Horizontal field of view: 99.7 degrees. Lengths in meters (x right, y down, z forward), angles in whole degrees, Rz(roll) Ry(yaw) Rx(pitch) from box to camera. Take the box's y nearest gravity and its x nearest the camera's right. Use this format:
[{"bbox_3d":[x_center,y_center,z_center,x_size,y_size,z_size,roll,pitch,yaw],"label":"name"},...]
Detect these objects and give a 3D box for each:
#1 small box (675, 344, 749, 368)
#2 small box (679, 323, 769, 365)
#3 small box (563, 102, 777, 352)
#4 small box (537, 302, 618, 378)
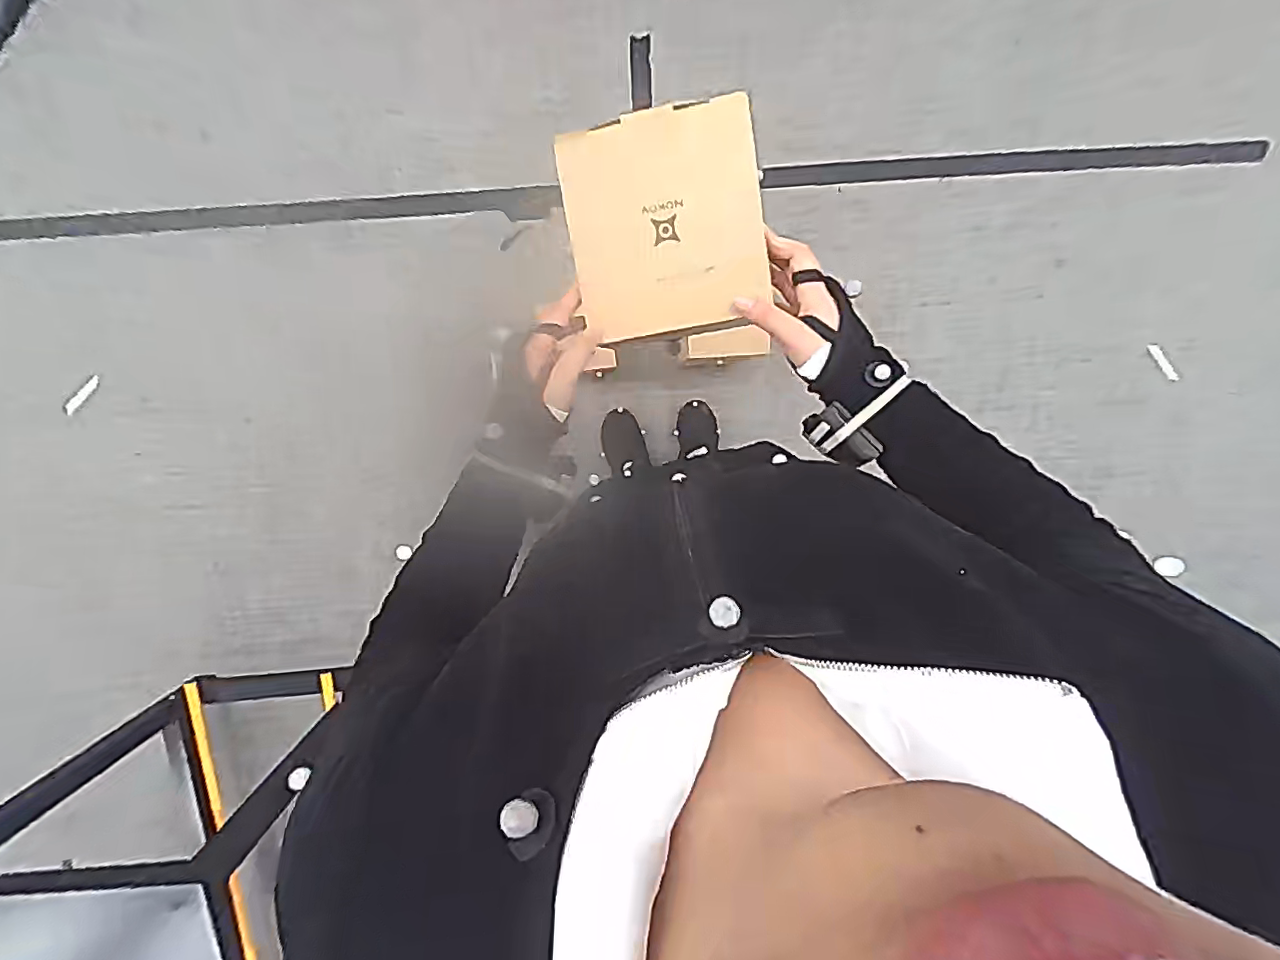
[{"bbox_3d":[0.177,-0.373,1.356,0.168,0.176,0.179,-2,101,-1],"label":"small box"},{"bbox_3d":[0.177,-0.345,1.192,0.179,0.176,0.168,-4,100,-2],"label":"small box"},{"bbox_3d":[0.035,-0.229,0.541,0.168,0.176,0.179,-9,102,9],"label":"small box"},{"bbox_3d":[-0.150,-0.346,1.349,0.179,0.176,0.168,-6,100,0],"label":"small box"}]
